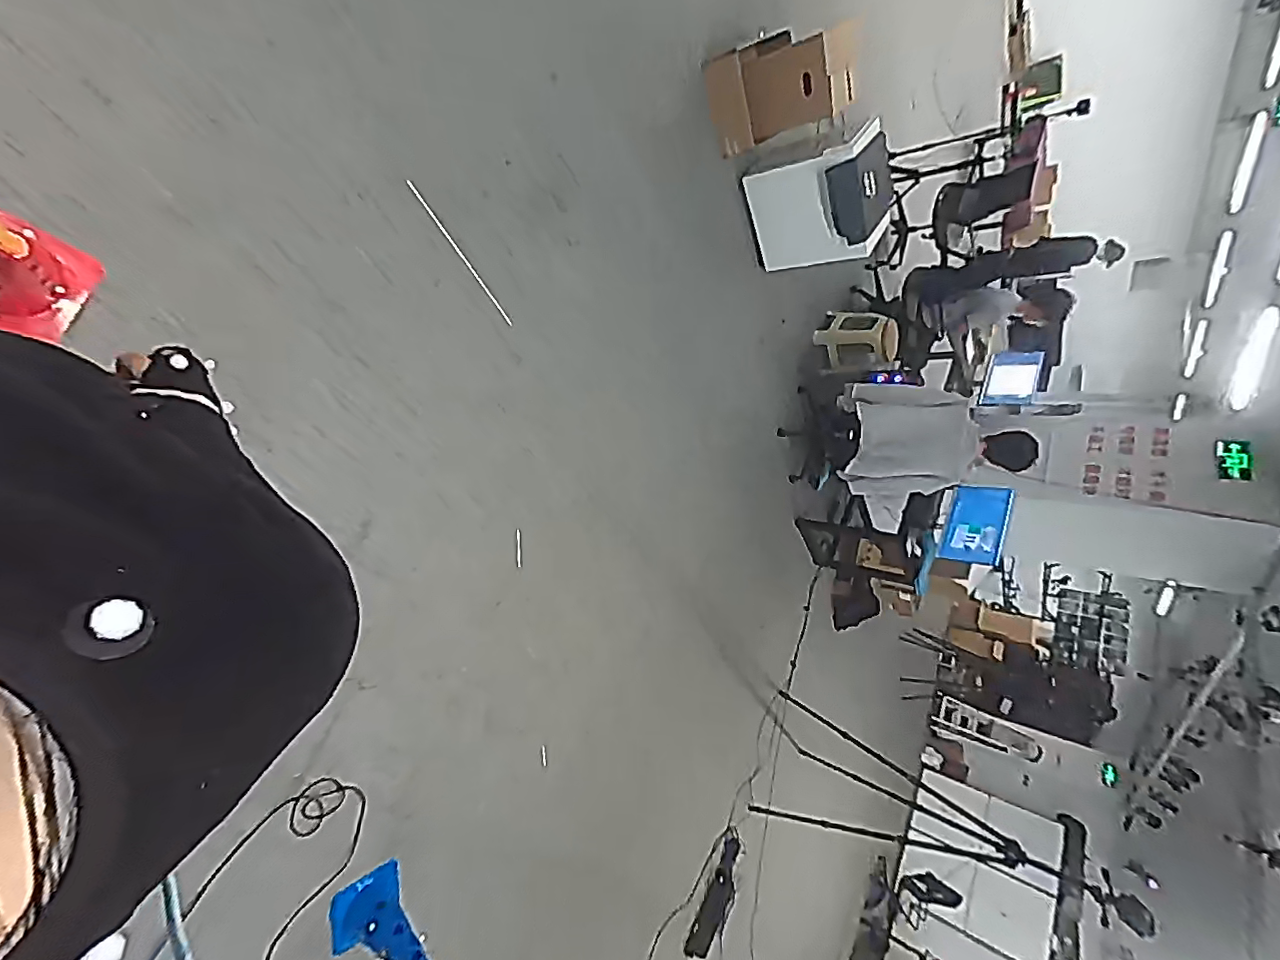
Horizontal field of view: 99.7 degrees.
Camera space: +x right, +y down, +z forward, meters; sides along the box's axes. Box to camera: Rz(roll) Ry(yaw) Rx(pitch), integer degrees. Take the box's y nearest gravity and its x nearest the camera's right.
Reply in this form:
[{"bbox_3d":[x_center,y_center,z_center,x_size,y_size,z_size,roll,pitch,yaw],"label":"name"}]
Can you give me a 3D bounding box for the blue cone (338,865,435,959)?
[{"bbox_3d":[-0.686,1.309,1.541,0.193,0.380,0.192,-11,103,-52],"label":"blue cone"}]
